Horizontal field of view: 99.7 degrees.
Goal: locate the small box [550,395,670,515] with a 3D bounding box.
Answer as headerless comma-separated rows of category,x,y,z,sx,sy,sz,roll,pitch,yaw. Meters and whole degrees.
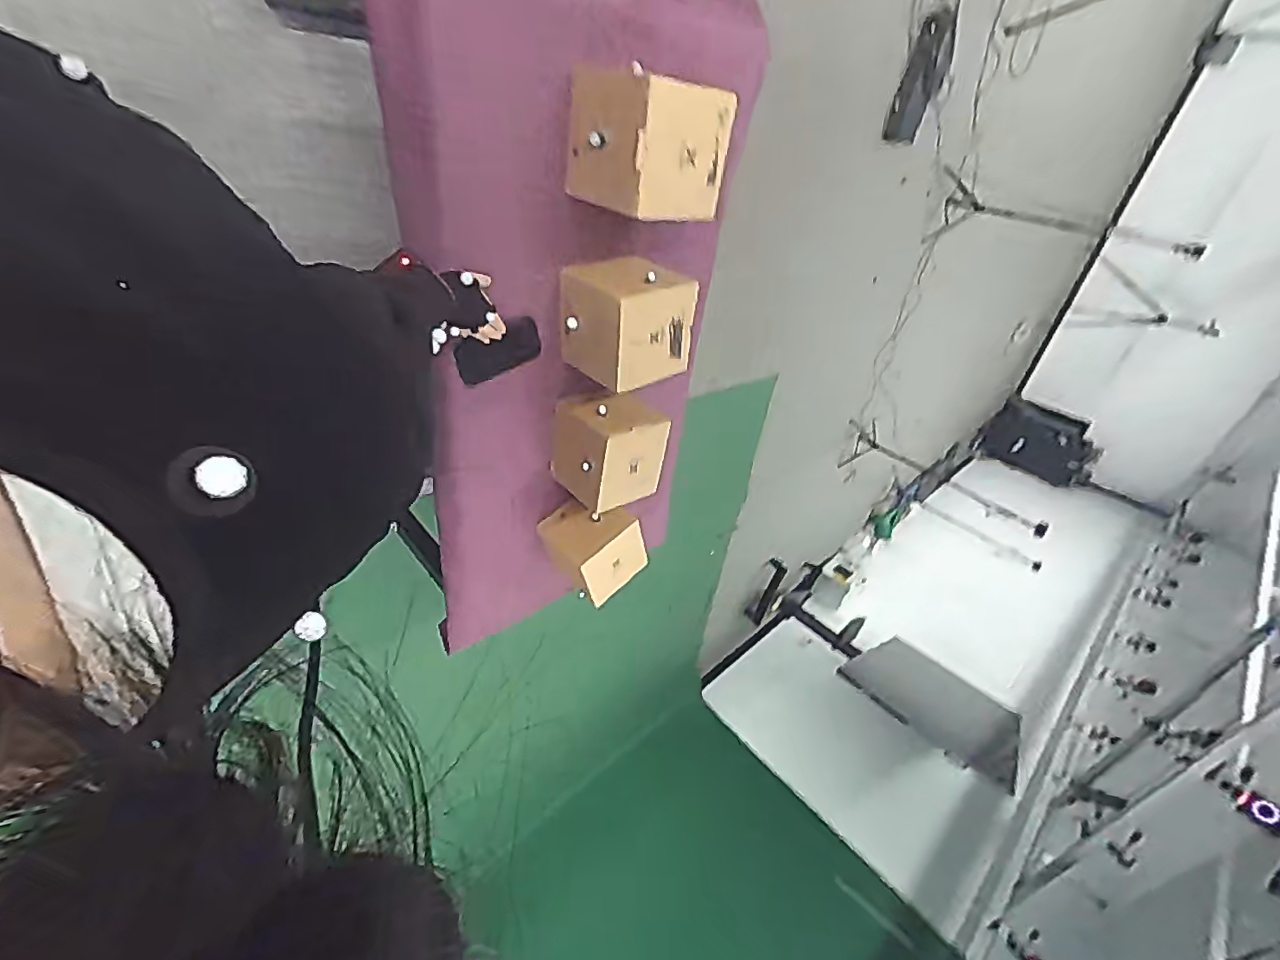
small box,-0.067,-0.061,1.099,0.168,0.176,0.179,-18,132,-40

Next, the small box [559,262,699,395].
small box,-0.024,-0.277,0.961,0.179,0.176,0.168,-25,136,-34

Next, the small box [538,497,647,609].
small box,-0.108,0.154,1.237,0.168,0.176,0.179,-38,143,-22

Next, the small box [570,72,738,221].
small box,0.012,-0.497,0.812,0.179,0.176,0.168,-20,134,-38
